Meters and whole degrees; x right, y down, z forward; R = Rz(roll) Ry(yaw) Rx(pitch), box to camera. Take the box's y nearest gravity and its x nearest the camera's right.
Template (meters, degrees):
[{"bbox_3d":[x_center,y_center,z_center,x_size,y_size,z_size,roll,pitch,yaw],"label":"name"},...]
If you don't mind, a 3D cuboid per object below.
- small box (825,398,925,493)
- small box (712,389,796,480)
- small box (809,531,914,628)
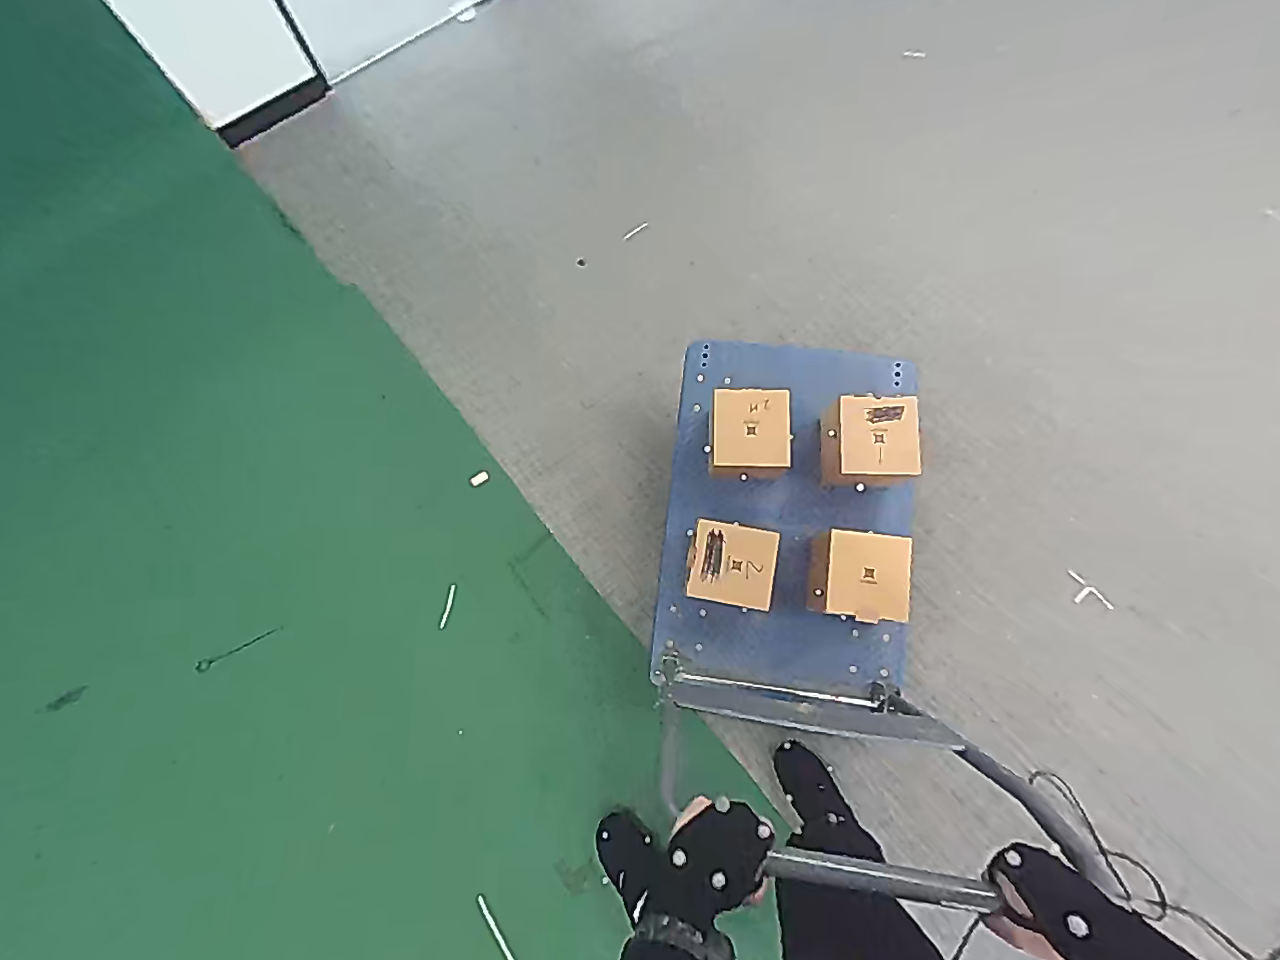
[{"bbox_3d":[0.527,-0.074,1.231,0.168,0.176,0.179,3,81,5],"label":"small box"},{"bbox_3d":[0.258,-0.098,1.251,0.168,0.176,0.179,3,80,3],"label":"small box"},{"bbox_3d":[0.477,0.216,1.184,0.168,0.176,0.179,8,81,5],"label":"small box"}]
